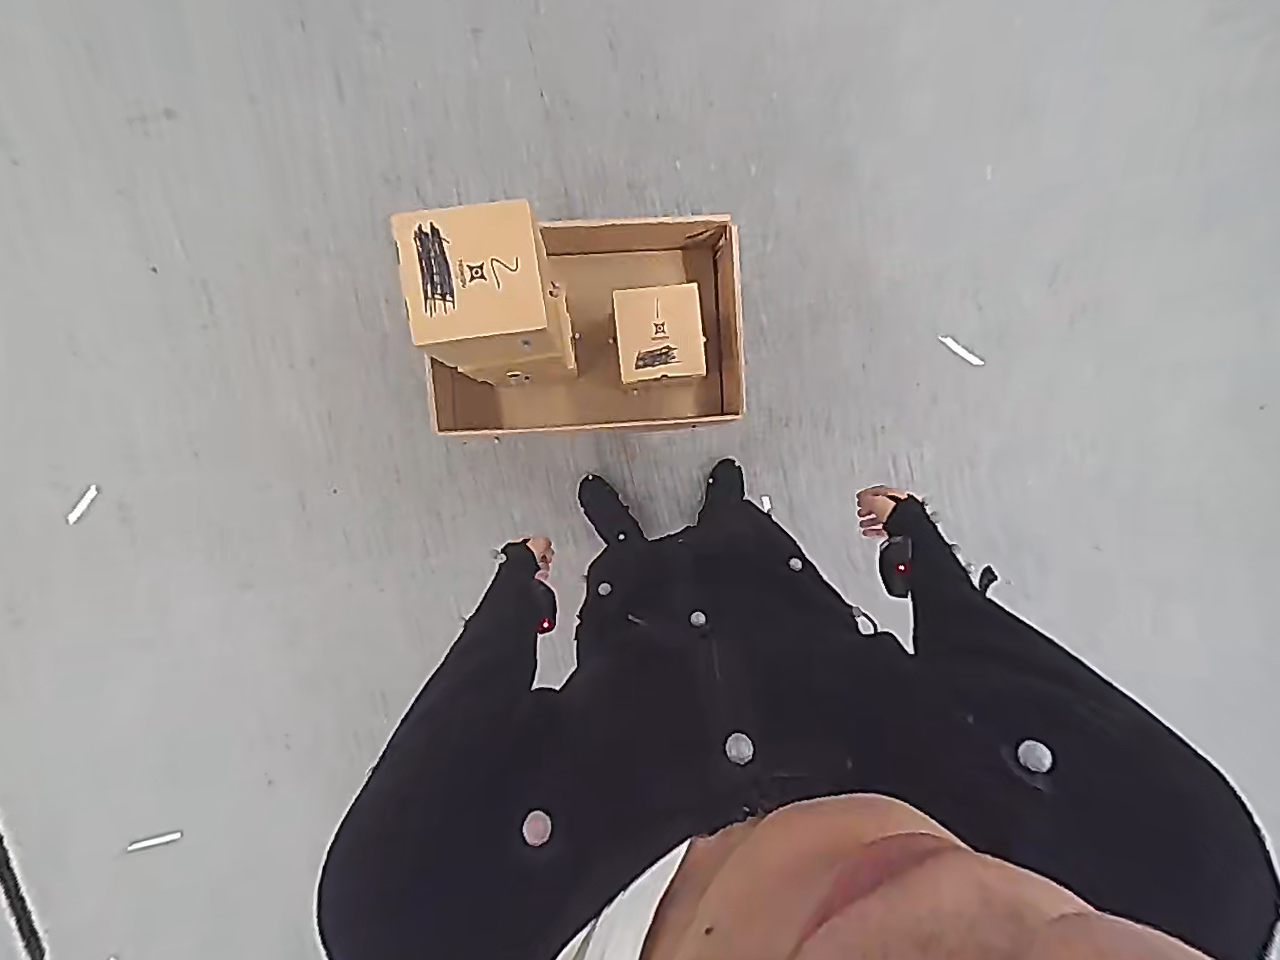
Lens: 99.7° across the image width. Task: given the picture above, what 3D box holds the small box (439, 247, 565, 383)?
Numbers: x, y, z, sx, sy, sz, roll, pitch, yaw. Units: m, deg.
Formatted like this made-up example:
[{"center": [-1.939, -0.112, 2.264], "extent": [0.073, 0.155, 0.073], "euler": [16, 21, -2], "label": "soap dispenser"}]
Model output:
[{"center": [-0.226, -0.273, 0.926], "extent": [0.168, 0.176, 0.179], "euler": [-10, 94, -3], "label": "small box"}]

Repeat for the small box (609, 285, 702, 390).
[{"center": [0.028, -0.282, 1.107], "extent": [0.168, 0.176, 0.179], "euler": [-7, 94, -3], "label": "small box"}]

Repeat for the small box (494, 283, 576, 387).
[{"center": [-0.228, -0.283, 1.089], "extent": [0.179, 0.176, 0.168], "euler": [-7, 95, -4], "label": "small box"}]
